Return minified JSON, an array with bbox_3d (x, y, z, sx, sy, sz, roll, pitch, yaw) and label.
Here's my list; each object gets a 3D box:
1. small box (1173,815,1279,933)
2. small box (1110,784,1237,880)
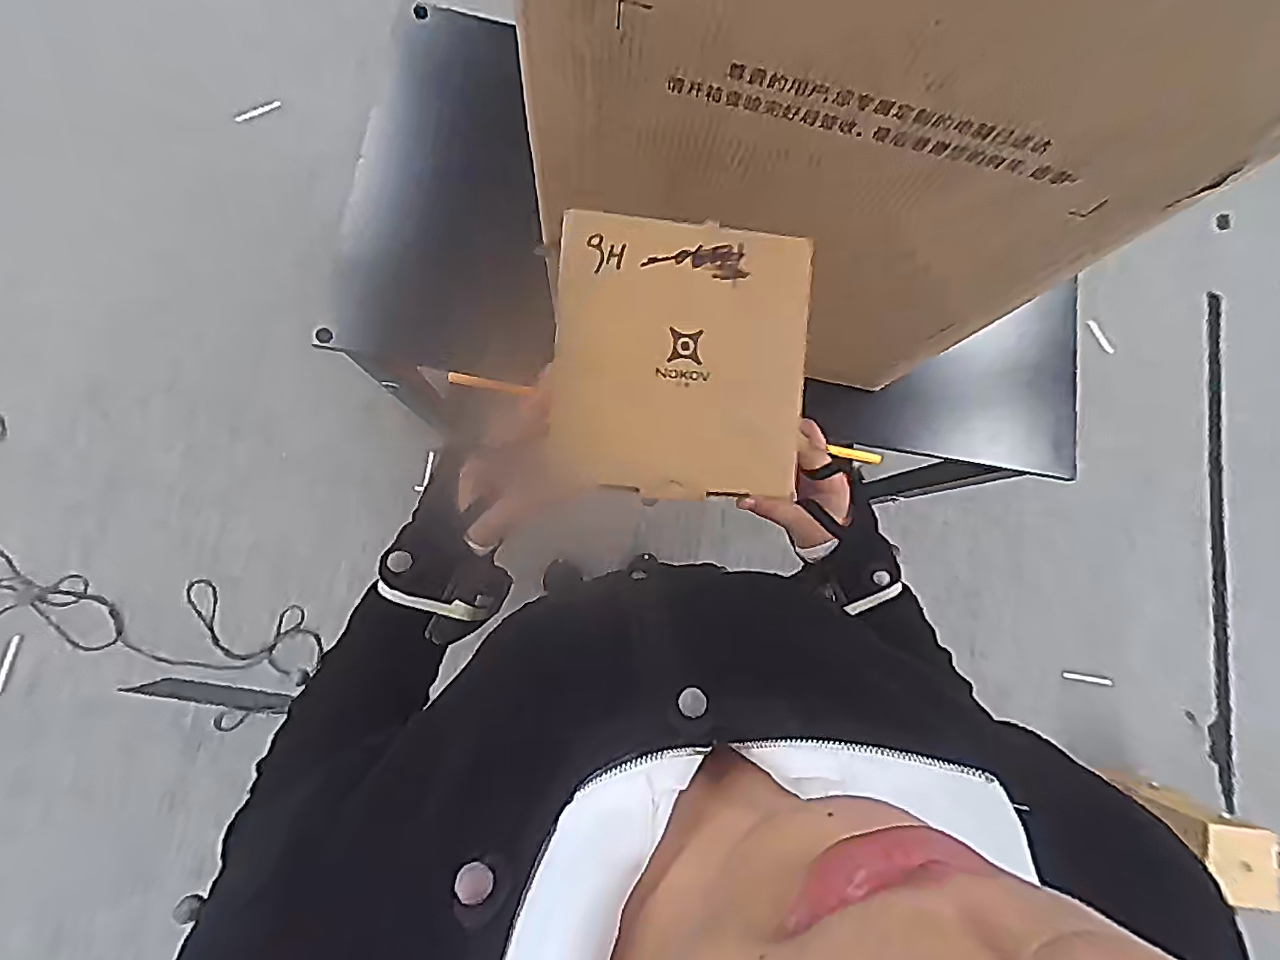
[{"bbox_3d":[1.389,0.897,1.240,0.179,0.176,0.168,9,80,-5],"label":"small box"},{"bbox_3d":[1.381,0.914,1.404,0.179,0.176,0.168,8,80,-4],"label":"small box"}]
